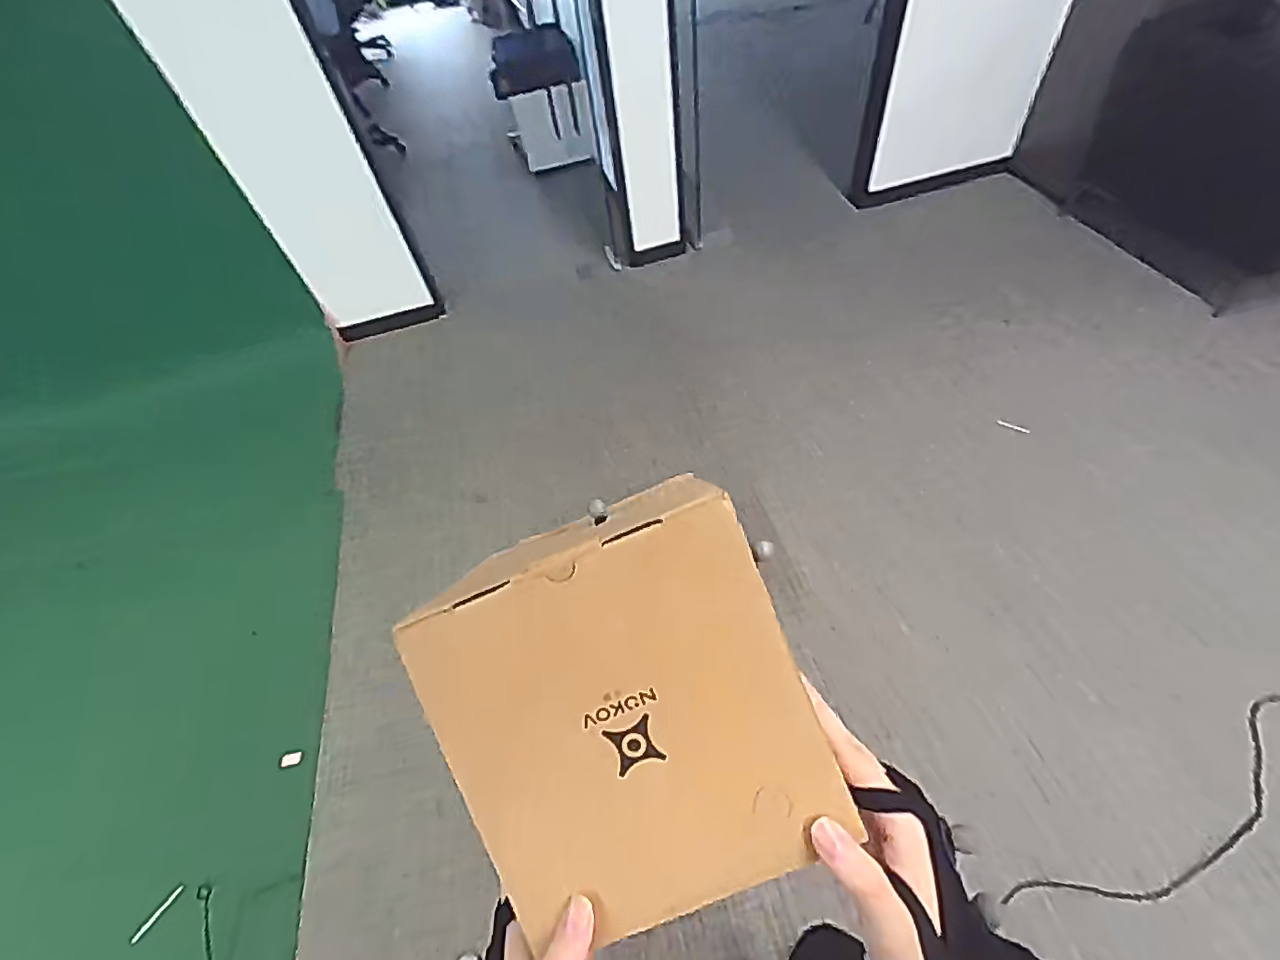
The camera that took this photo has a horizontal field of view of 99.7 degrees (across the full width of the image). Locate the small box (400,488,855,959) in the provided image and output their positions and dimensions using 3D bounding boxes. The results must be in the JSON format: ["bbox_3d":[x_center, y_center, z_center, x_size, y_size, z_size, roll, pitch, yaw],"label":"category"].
[{"bbox_3d":[-0.003,0.115,0.330,0.168,0.176,0.179,-23,91,2],"label":"small box"}]
